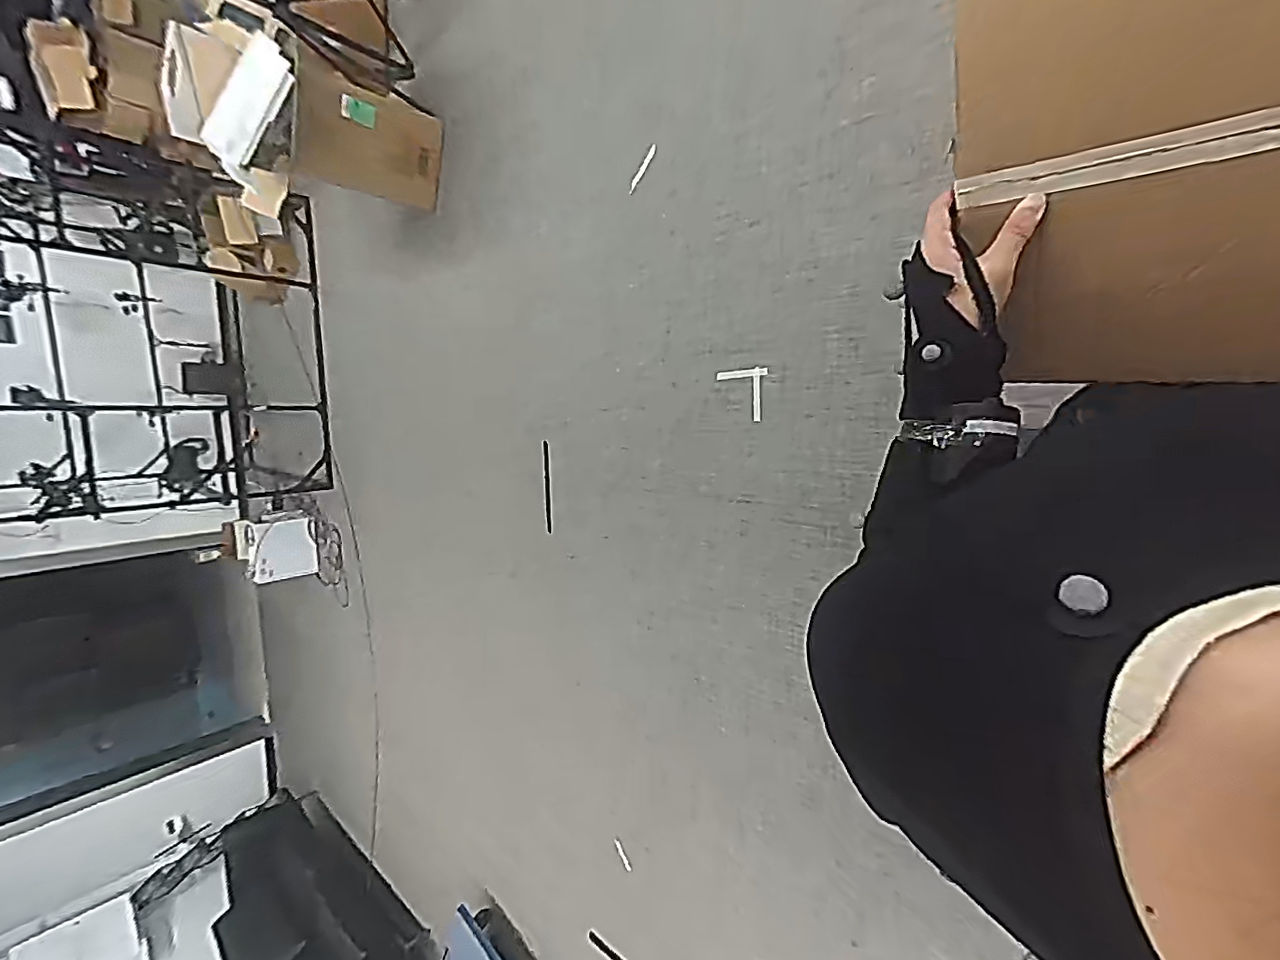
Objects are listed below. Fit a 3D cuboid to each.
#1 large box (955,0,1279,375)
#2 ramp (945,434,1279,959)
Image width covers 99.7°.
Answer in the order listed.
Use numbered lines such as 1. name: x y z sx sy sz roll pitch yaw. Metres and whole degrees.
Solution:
1. large box: 0.476 -0.283 0.351 0.408 0.320 0.320 8 132 43
2. ramp: 0.919 0.406 1.062 0.509 0.206 0.991 4 98 42
